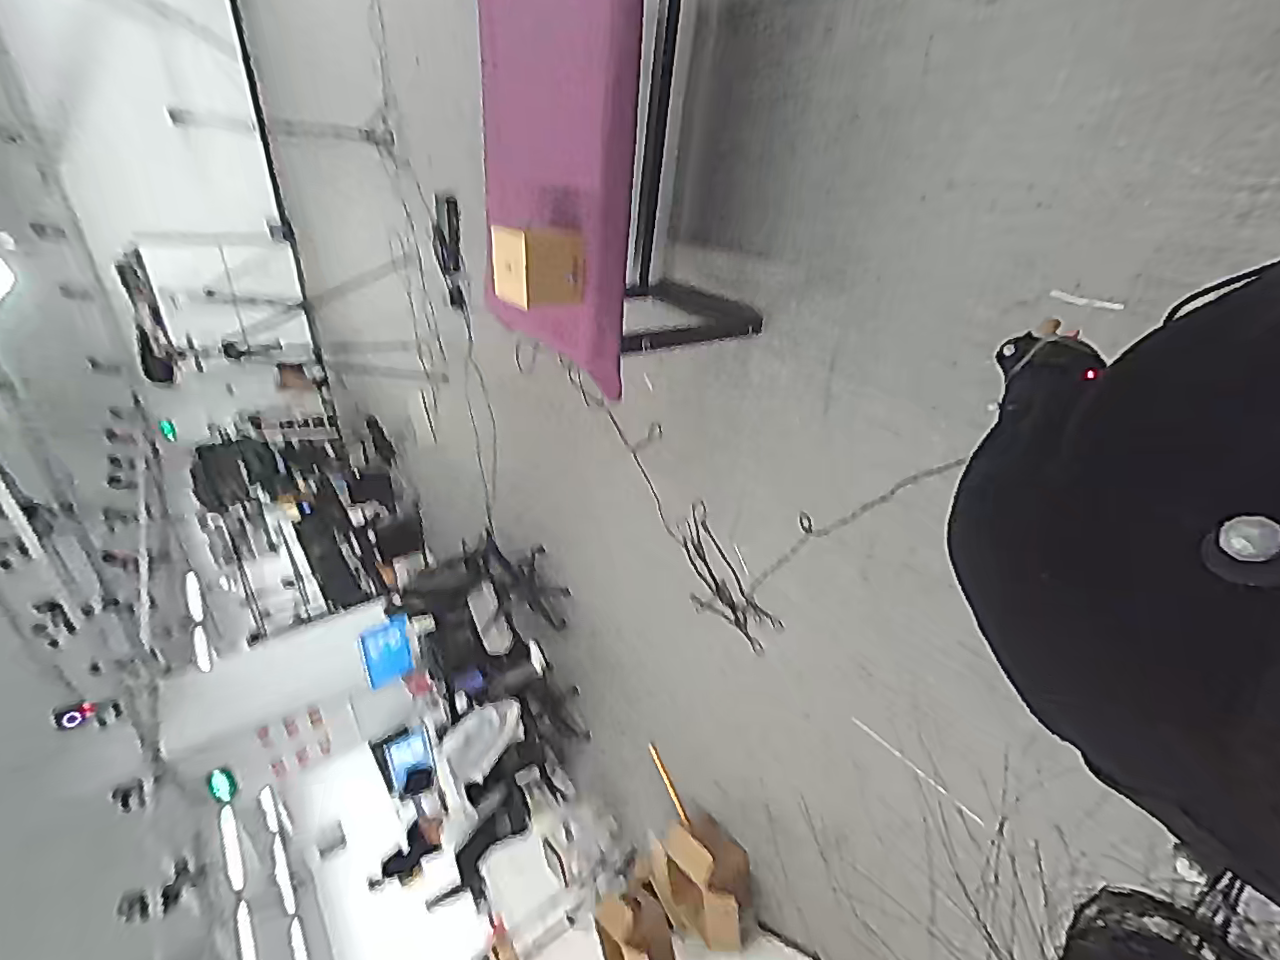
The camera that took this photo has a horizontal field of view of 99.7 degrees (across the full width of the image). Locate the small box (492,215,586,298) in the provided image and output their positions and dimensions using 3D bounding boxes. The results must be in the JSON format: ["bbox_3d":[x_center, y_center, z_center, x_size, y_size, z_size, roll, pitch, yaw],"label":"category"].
[{"bbox_3d":[-0.254,-0.564,1.361,0.179,0.176,0.168,35,132,40],"label":"small box"}]
